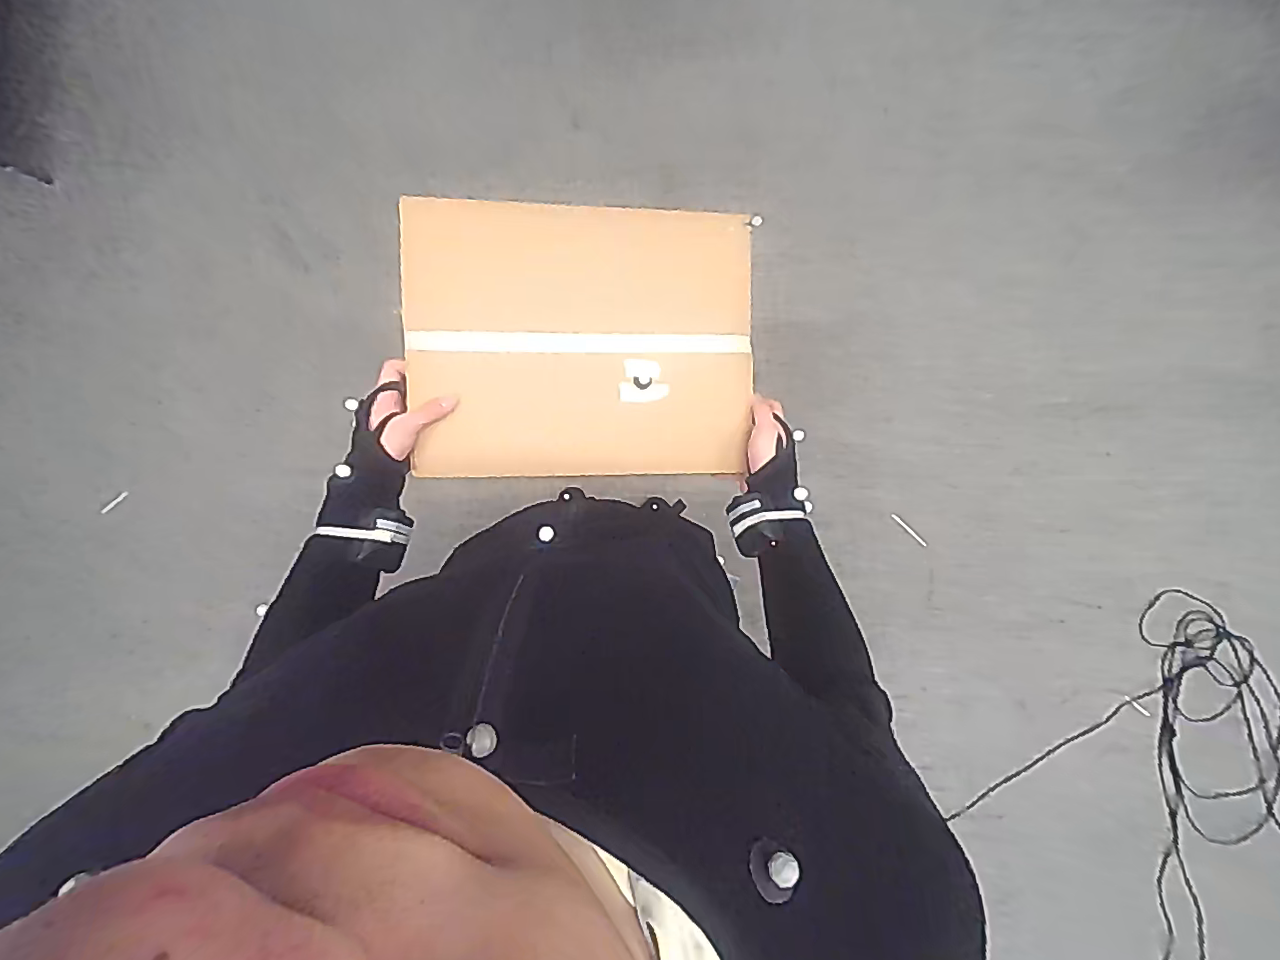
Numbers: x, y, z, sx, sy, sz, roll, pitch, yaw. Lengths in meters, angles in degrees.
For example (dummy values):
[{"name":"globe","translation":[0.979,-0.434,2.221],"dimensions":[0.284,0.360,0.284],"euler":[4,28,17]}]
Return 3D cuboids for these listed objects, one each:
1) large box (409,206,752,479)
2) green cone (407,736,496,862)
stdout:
[{"name":"large box","translation":[-0.084,-0.172,0.792],"dimensions":[0.408,0.320,0.320],"euler":[-2,94,-9]},{"name":"green cone","translation":[-0.537,0.876,1.453],"dimensions":[0.200,0.368,0.202],"euler":[6,90,-1]}]
